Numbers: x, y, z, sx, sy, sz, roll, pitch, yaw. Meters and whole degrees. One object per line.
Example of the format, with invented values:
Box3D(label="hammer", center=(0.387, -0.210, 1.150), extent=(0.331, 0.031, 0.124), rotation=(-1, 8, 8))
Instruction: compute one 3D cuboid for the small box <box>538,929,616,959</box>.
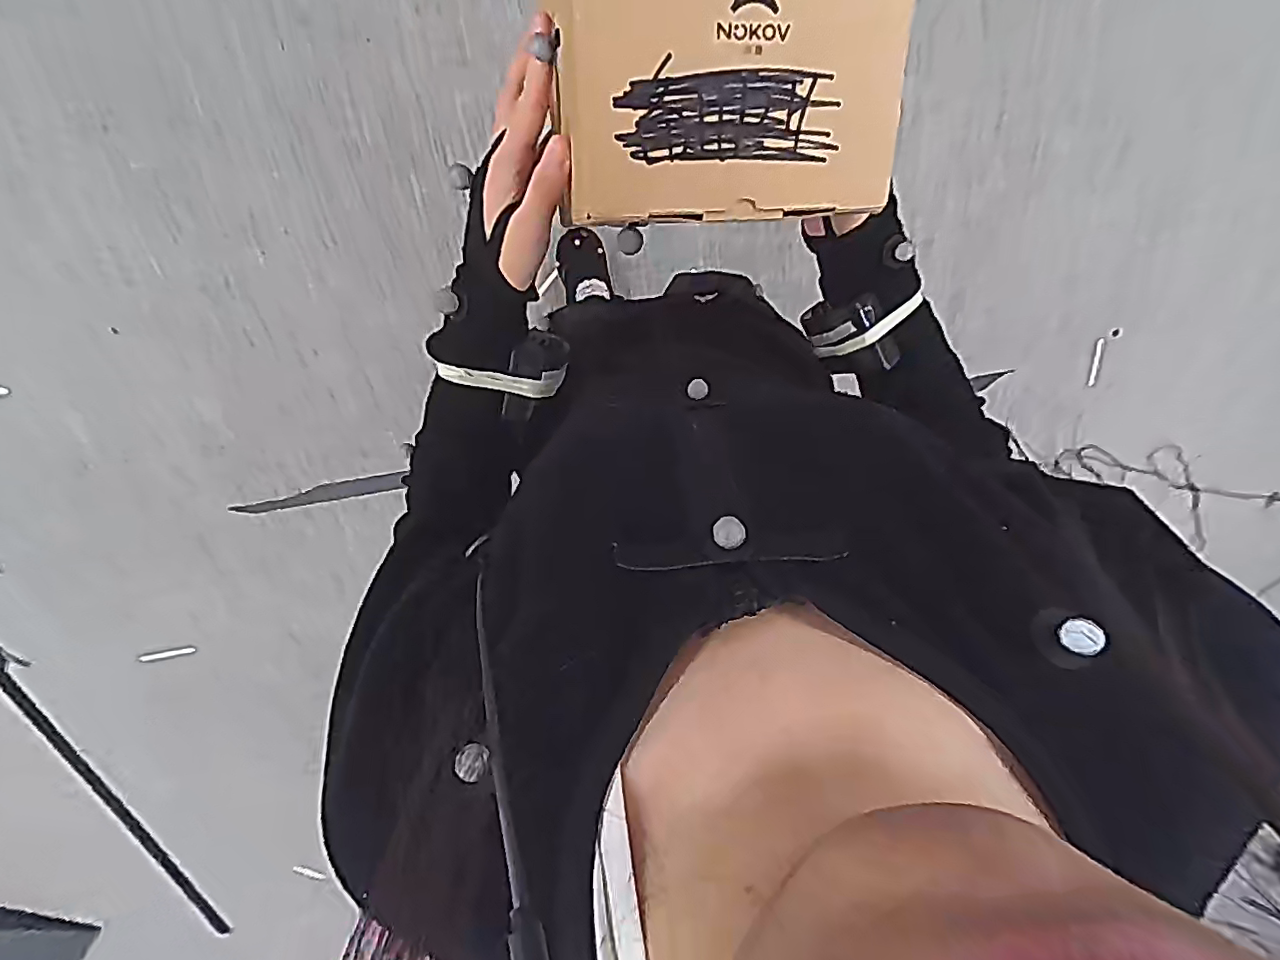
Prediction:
Box3D(label="small box", center=(-0.127, 1.102, 1.145), extent=(0.168, 0.176, 0.179), rotation=(-6, 115, -7))
